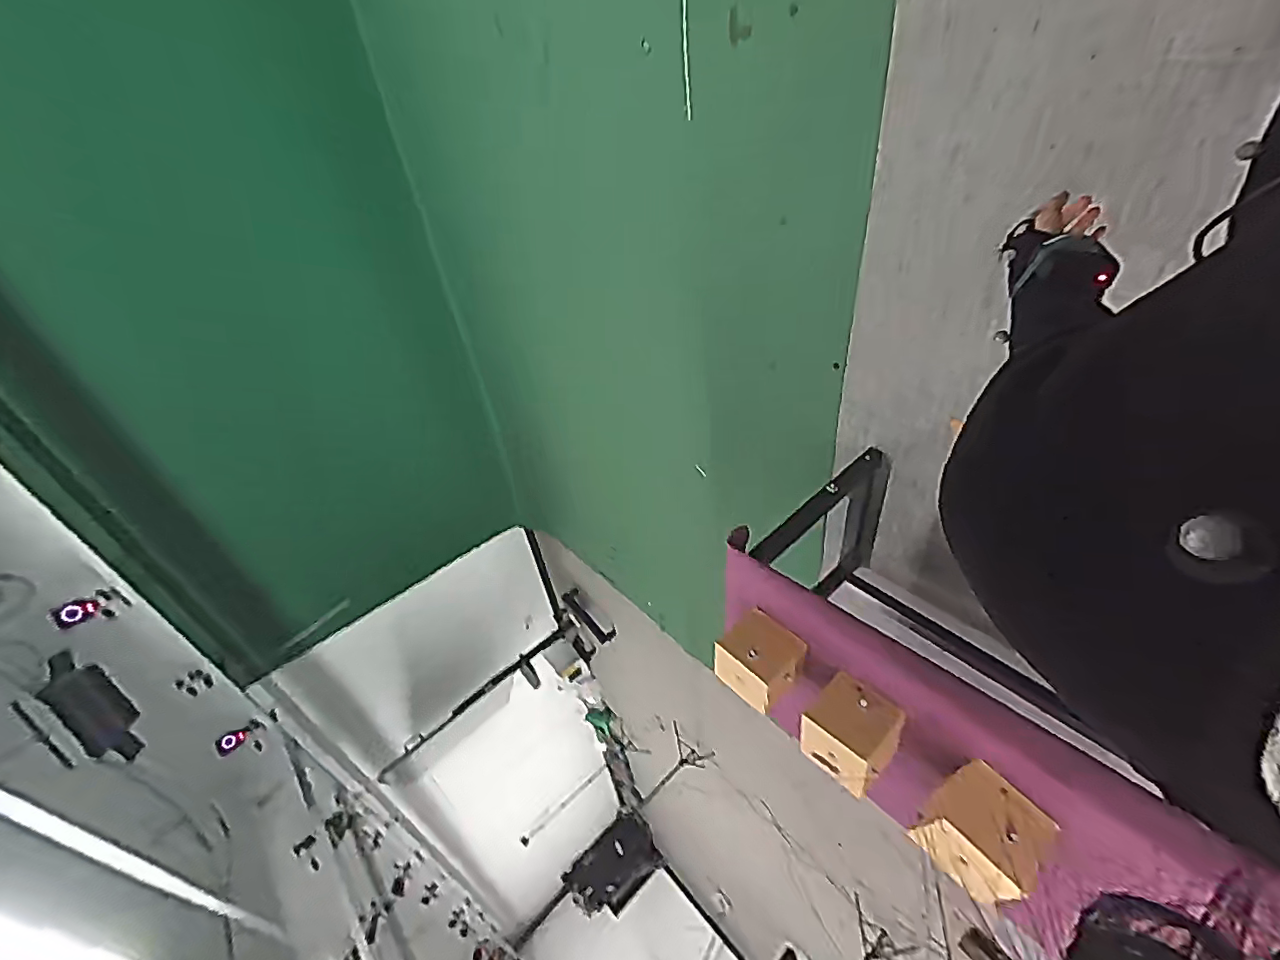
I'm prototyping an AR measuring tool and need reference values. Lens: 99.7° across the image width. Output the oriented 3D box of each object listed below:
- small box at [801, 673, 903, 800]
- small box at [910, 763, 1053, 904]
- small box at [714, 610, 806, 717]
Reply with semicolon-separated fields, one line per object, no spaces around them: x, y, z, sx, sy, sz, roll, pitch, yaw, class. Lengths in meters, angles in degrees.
0.504;0.605;1.290;0.168;0.176;0.179;28;140;41;small box
0.700;0.717;1.108;0.168;0.176;0.179;40;148;27;small box
0.320;0.485;1.449;0.179;0.176;0.168;34;145;35;small box
